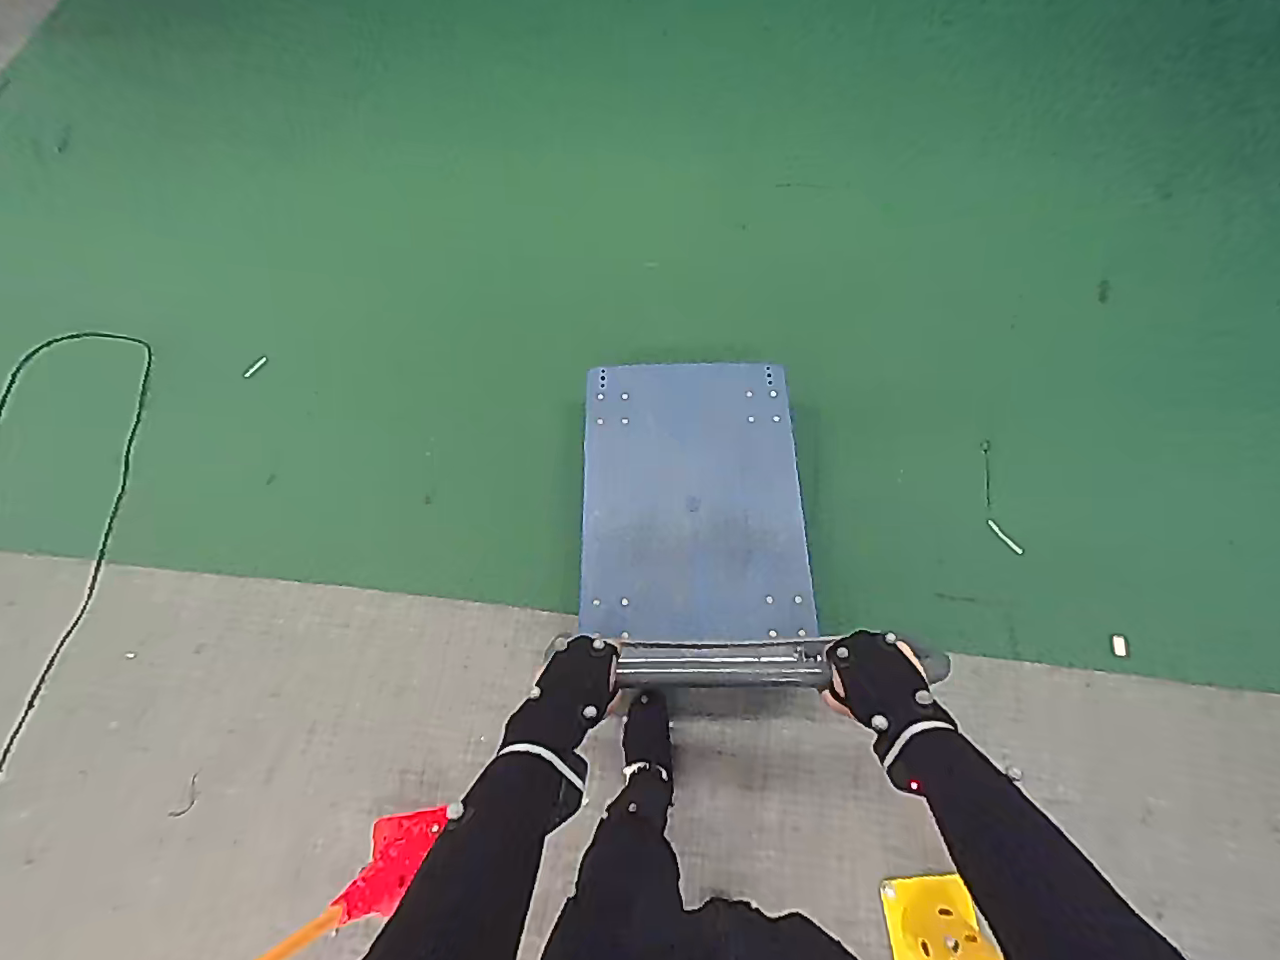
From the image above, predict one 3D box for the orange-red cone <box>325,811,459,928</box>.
[{"bbox_3d":[-0.527,0.828,1.102,0.199,0.360,0.198,-9,67,-1],"label":"orange-red cone"}]
